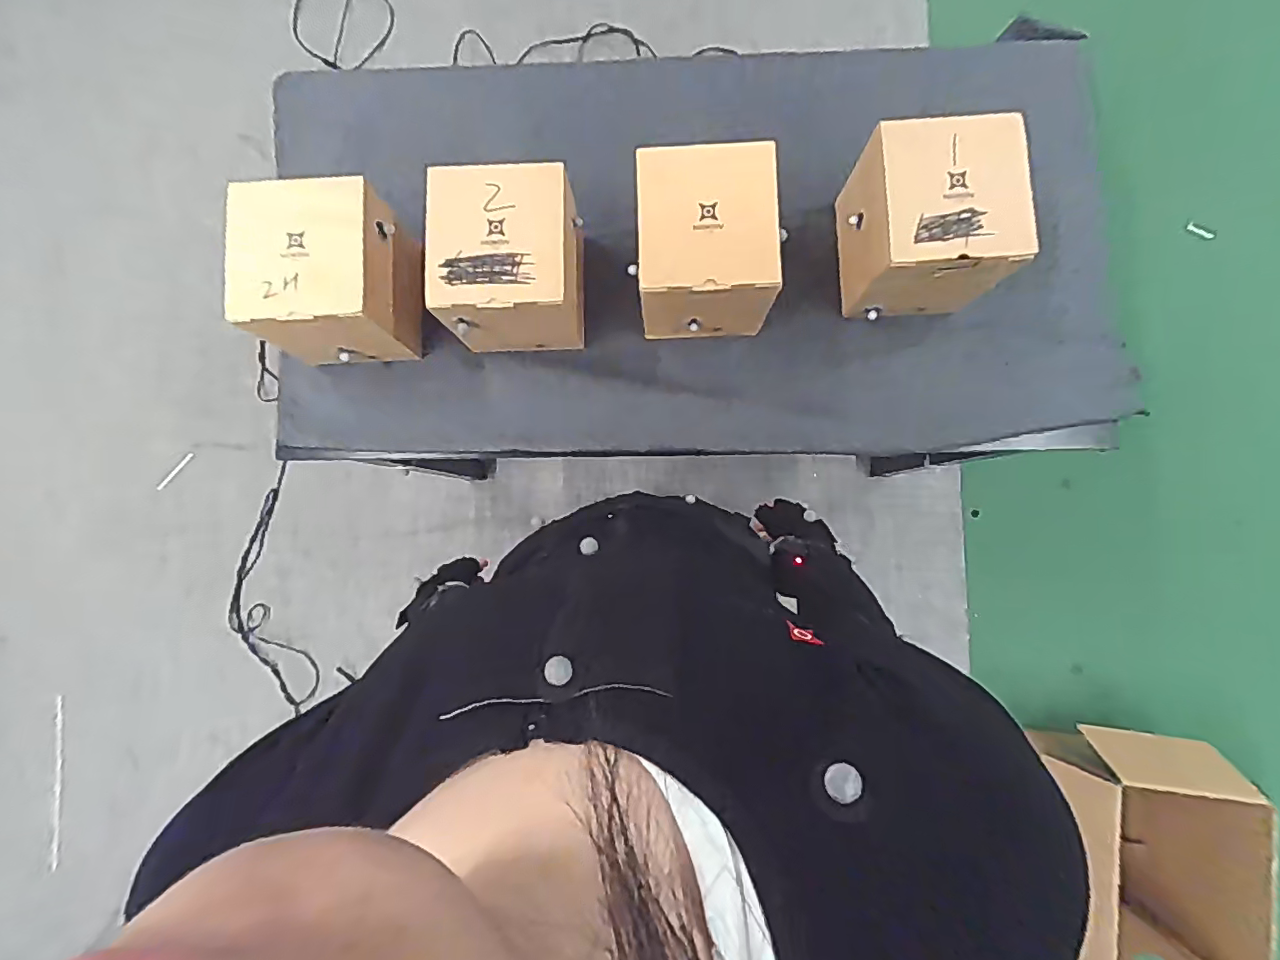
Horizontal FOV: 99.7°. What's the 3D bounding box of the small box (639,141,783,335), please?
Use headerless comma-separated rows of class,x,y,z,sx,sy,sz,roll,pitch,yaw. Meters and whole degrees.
small box,0.083,-0.305,0.709,0.168,0.176,0.179,-2,87,1

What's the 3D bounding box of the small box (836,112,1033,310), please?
small box,0.364,-0.331,0.700,0.168,0.176,0.179,-2,86,2

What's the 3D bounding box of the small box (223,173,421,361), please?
small box,-0.404,-0.269,0.714,0.168,0.176,0.179,-3,85,0
